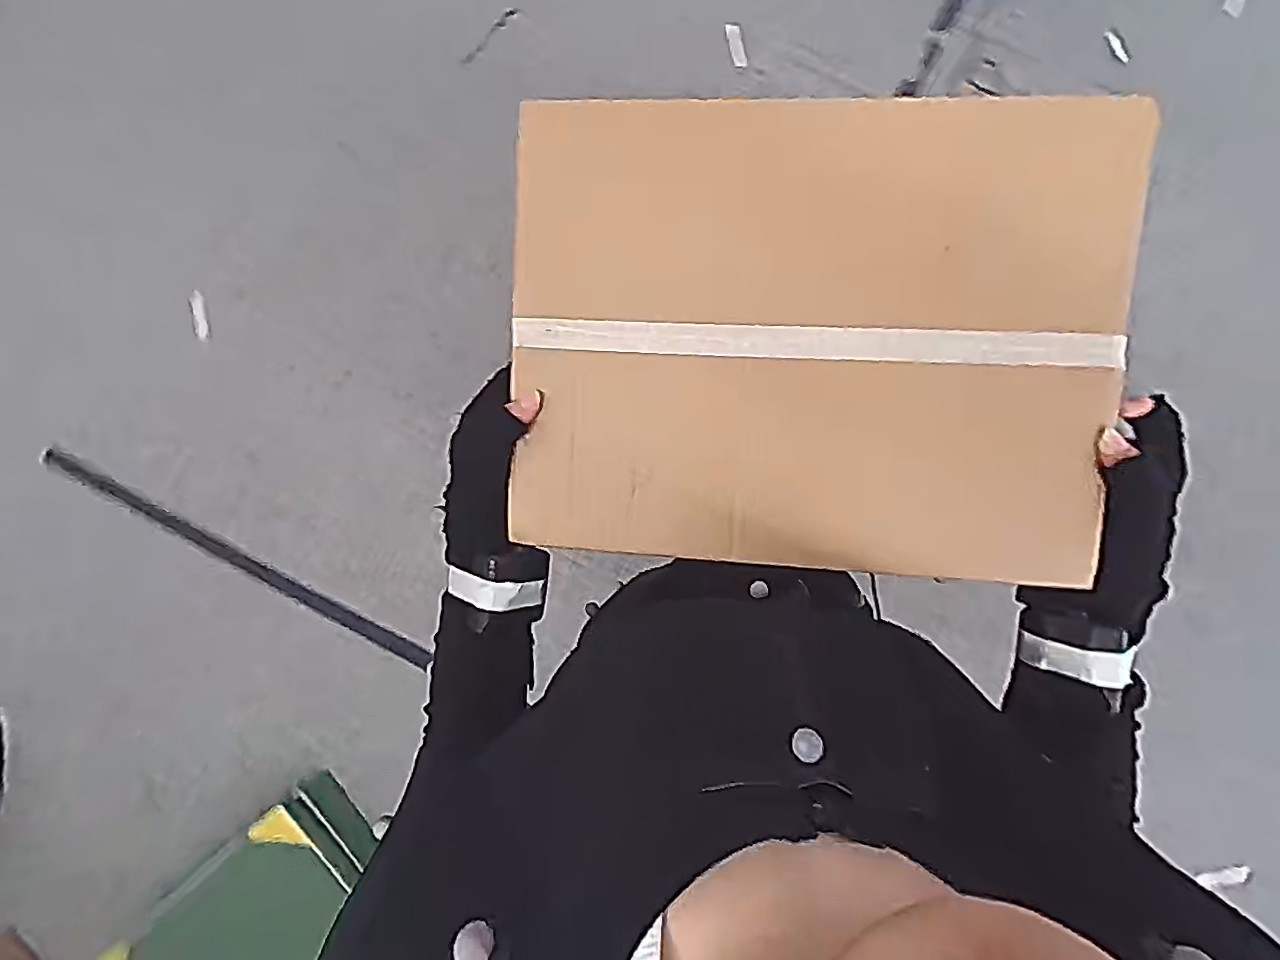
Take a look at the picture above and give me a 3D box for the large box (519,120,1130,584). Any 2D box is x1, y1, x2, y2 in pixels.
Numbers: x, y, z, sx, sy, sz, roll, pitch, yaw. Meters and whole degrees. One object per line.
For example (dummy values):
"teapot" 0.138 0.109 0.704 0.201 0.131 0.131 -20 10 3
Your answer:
"large box" 0.128 -0.106 0.529 0.408 0.320 0.320 4 95 6
